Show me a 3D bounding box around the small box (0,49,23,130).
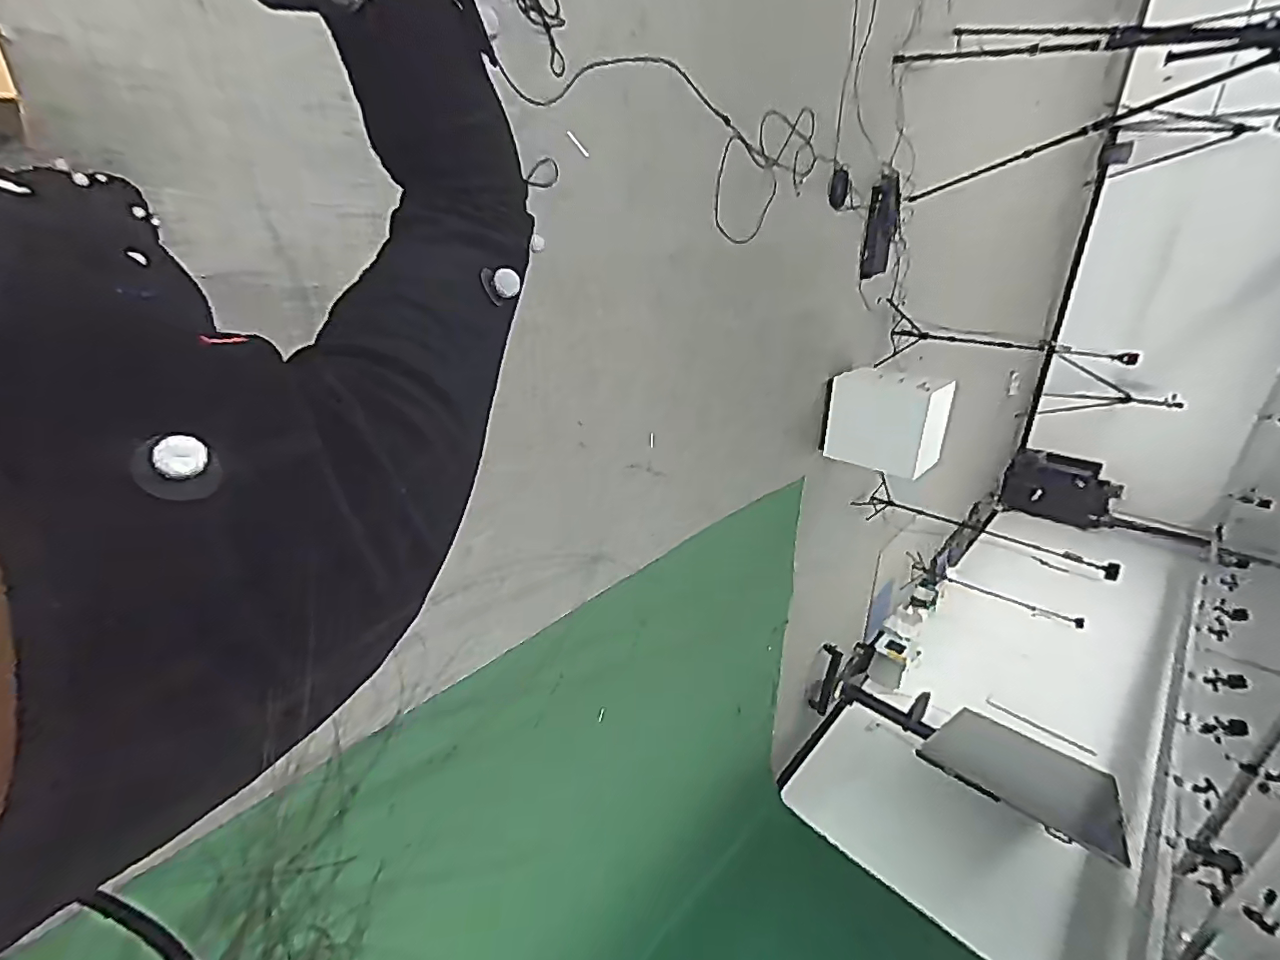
[{"bbox_3d":[-1.040,-0.628,0.777,0.168,0.176,0.179,-19,120,-41],"label":"small box"}]
